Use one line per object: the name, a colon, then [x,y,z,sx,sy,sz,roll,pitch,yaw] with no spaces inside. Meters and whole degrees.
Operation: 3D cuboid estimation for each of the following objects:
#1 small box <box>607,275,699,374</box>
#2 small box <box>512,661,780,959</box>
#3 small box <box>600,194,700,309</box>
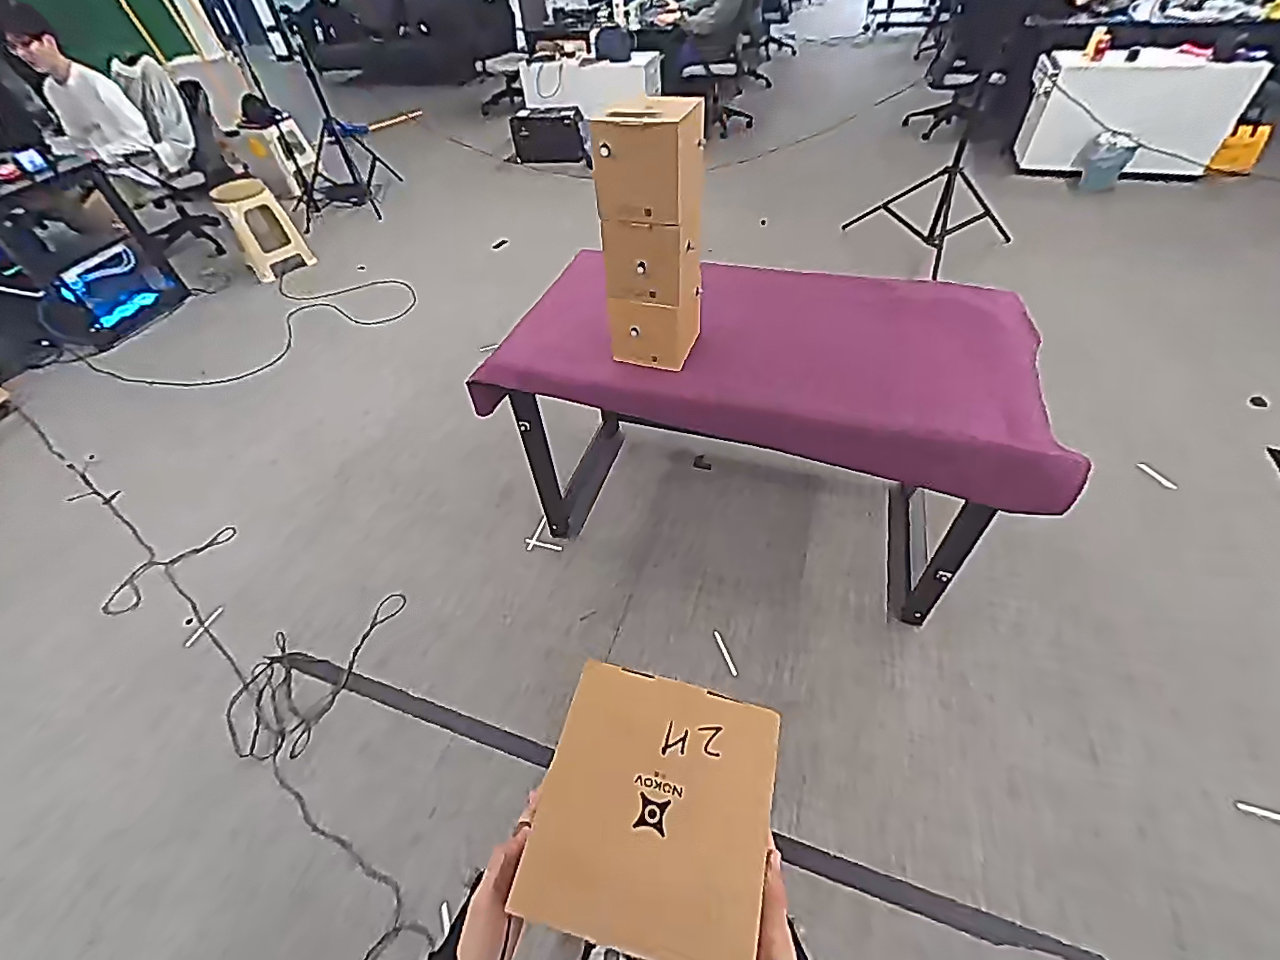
small box: [0.038,-0.371,1.270,0.168,0.176,0.179,13,49,15]
small box: [0.011,0.287,0.463,0.168,0.176,0.179,14,53,7]
small box: [0.029,-0.486,1.154,0.168,0.176,0.179,11,49,14]
